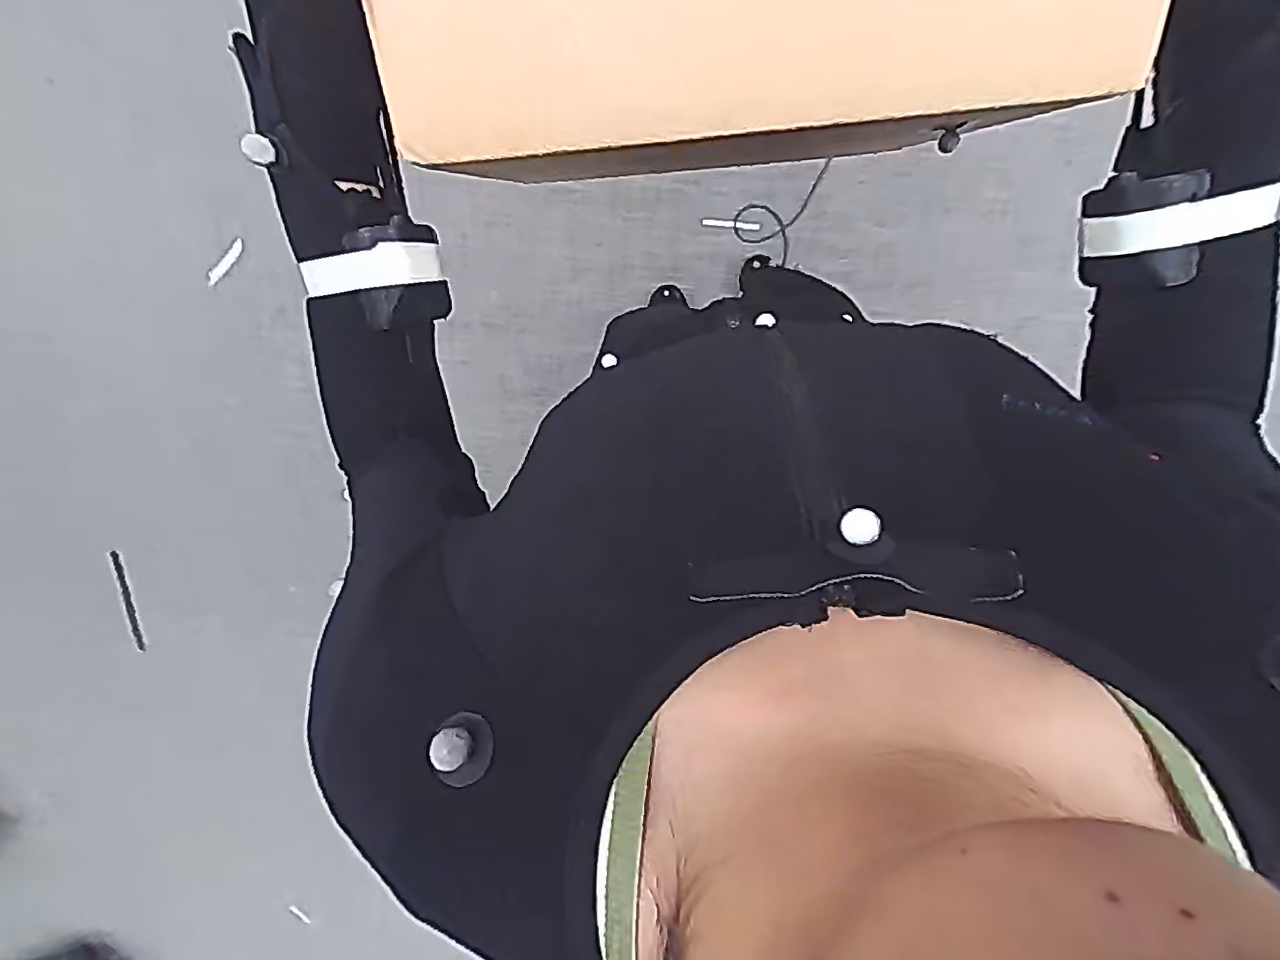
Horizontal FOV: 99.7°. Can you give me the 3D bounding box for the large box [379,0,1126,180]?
[{"bbox_3d":[0.053,-0.407,0.377,0.408,0.320,0.320,-4,116,3],"label":"large box"}]
